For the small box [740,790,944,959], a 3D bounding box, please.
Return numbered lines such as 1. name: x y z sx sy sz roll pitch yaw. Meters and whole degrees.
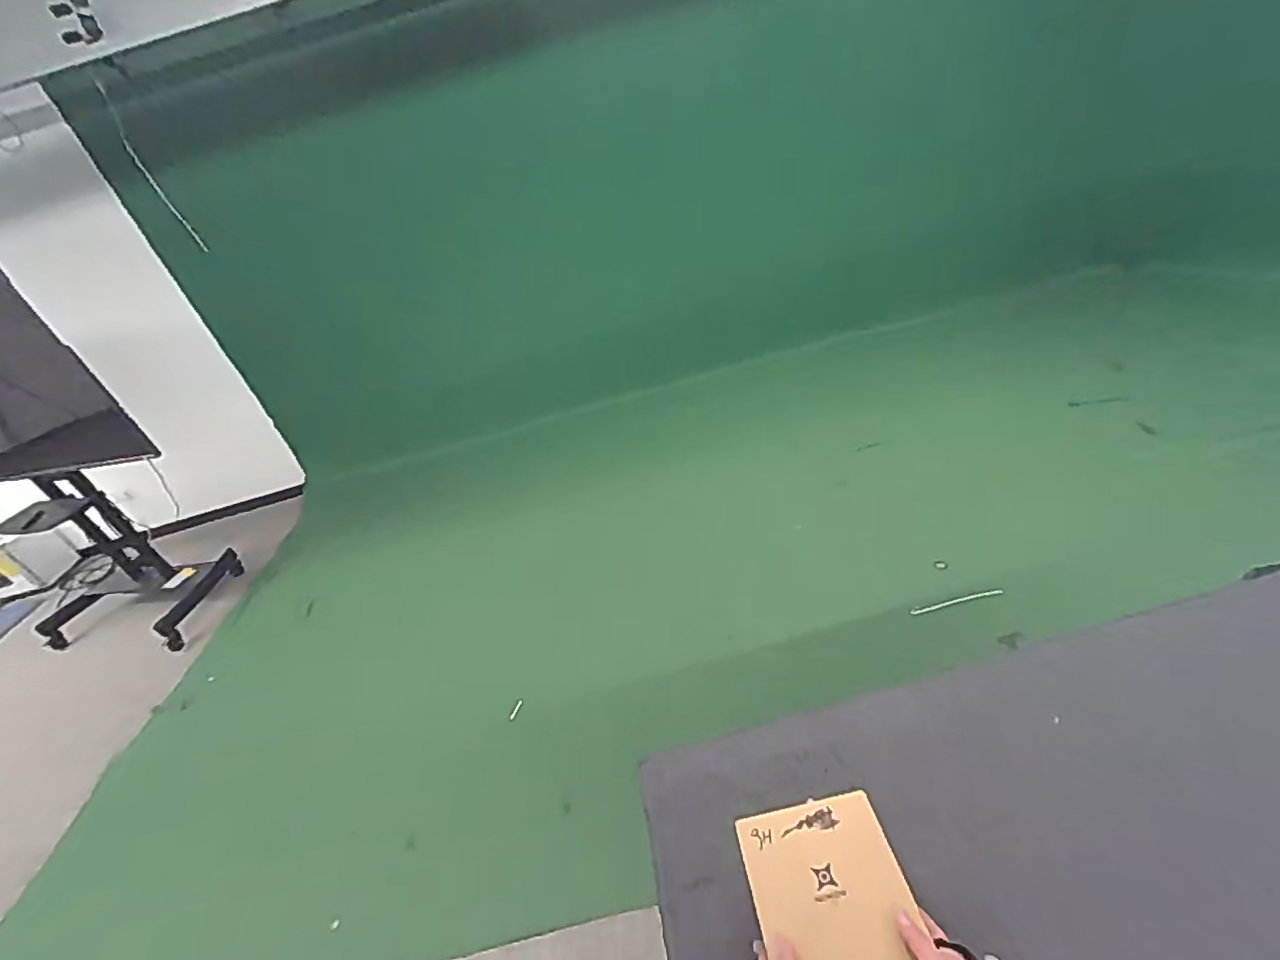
1. small box: 0.228 0.508 0.633 0.168 0.176 0.179 -14 32 2
